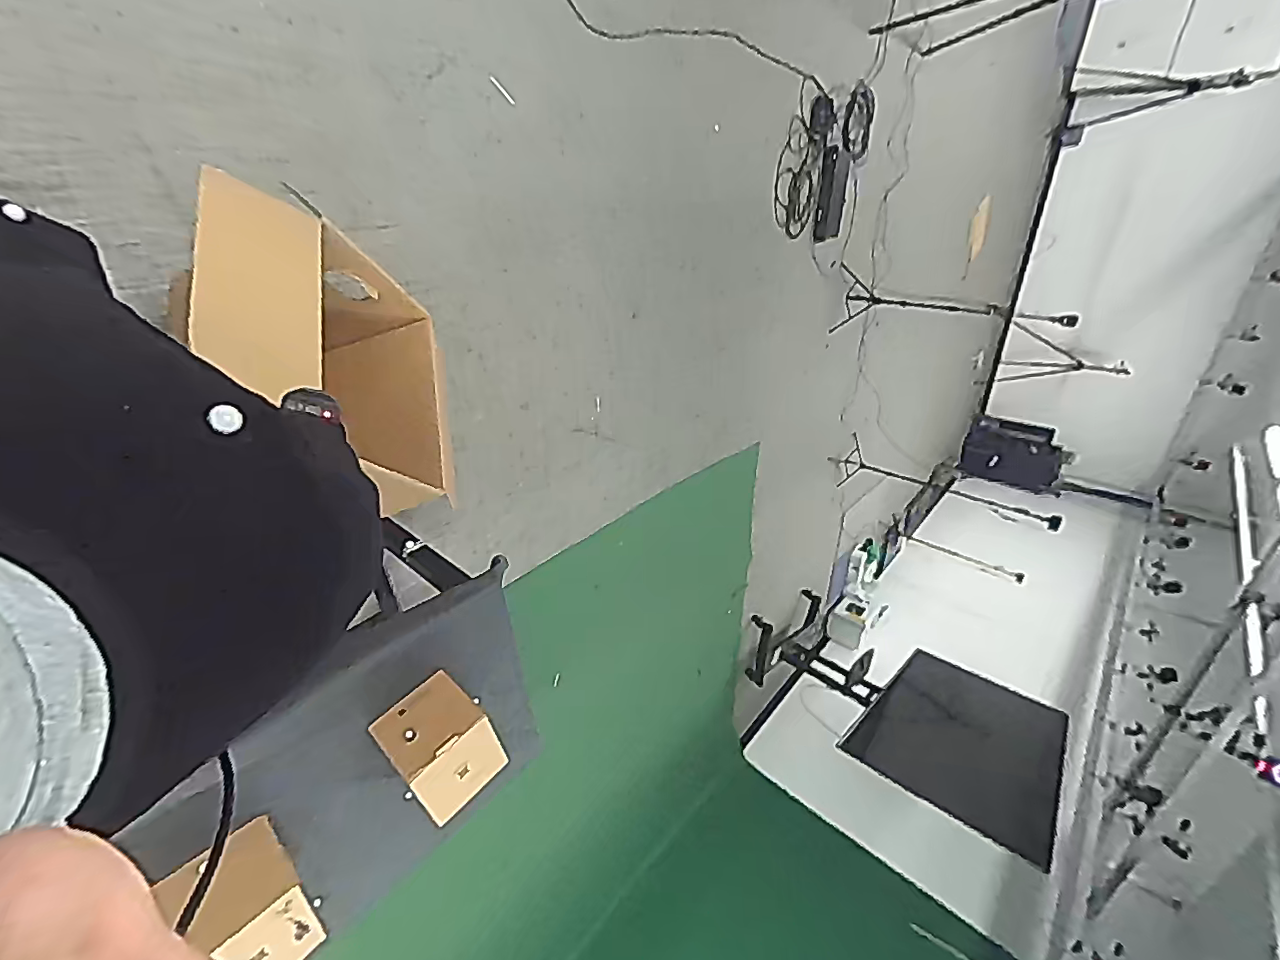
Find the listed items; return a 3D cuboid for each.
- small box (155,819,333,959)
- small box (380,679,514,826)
[{"bbox_3d":[-0.629,0.700,0.859,0.179,0.176,0.168,-27,127,-40],"label":"small box"},{"bbox_3d":[-0.383,0.529,1.075,0.168,0.176,0.179,-36,135,-32],"label":"small box"}]
